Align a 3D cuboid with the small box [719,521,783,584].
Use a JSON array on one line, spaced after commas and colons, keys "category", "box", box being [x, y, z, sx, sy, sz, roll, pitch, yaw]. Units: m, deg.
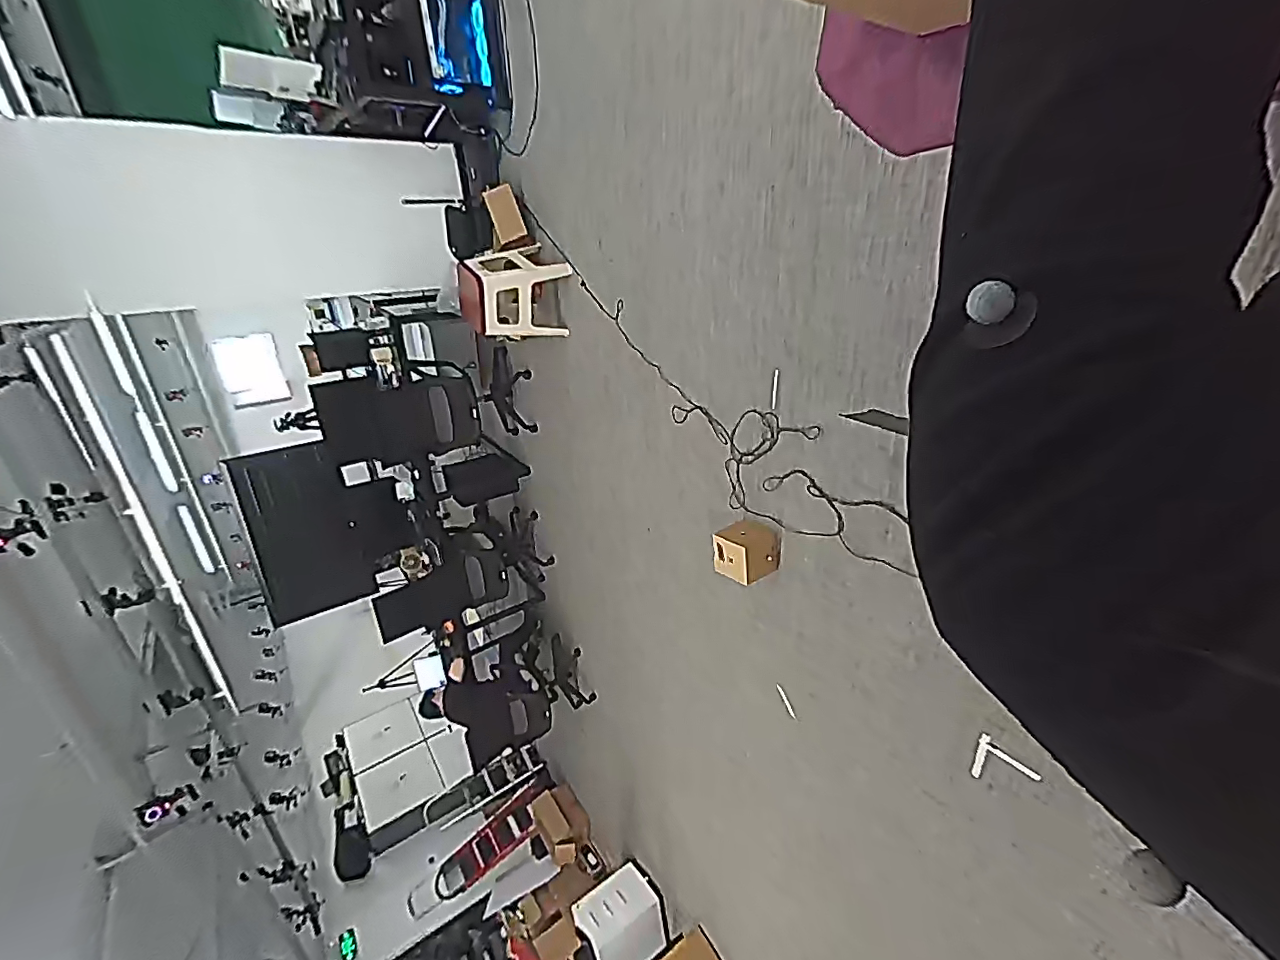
[{"category": "small box", "box": [0.429, 0.270, 2.088, 0.179, 0.176, 0.168, 22, 125, 52]}]
